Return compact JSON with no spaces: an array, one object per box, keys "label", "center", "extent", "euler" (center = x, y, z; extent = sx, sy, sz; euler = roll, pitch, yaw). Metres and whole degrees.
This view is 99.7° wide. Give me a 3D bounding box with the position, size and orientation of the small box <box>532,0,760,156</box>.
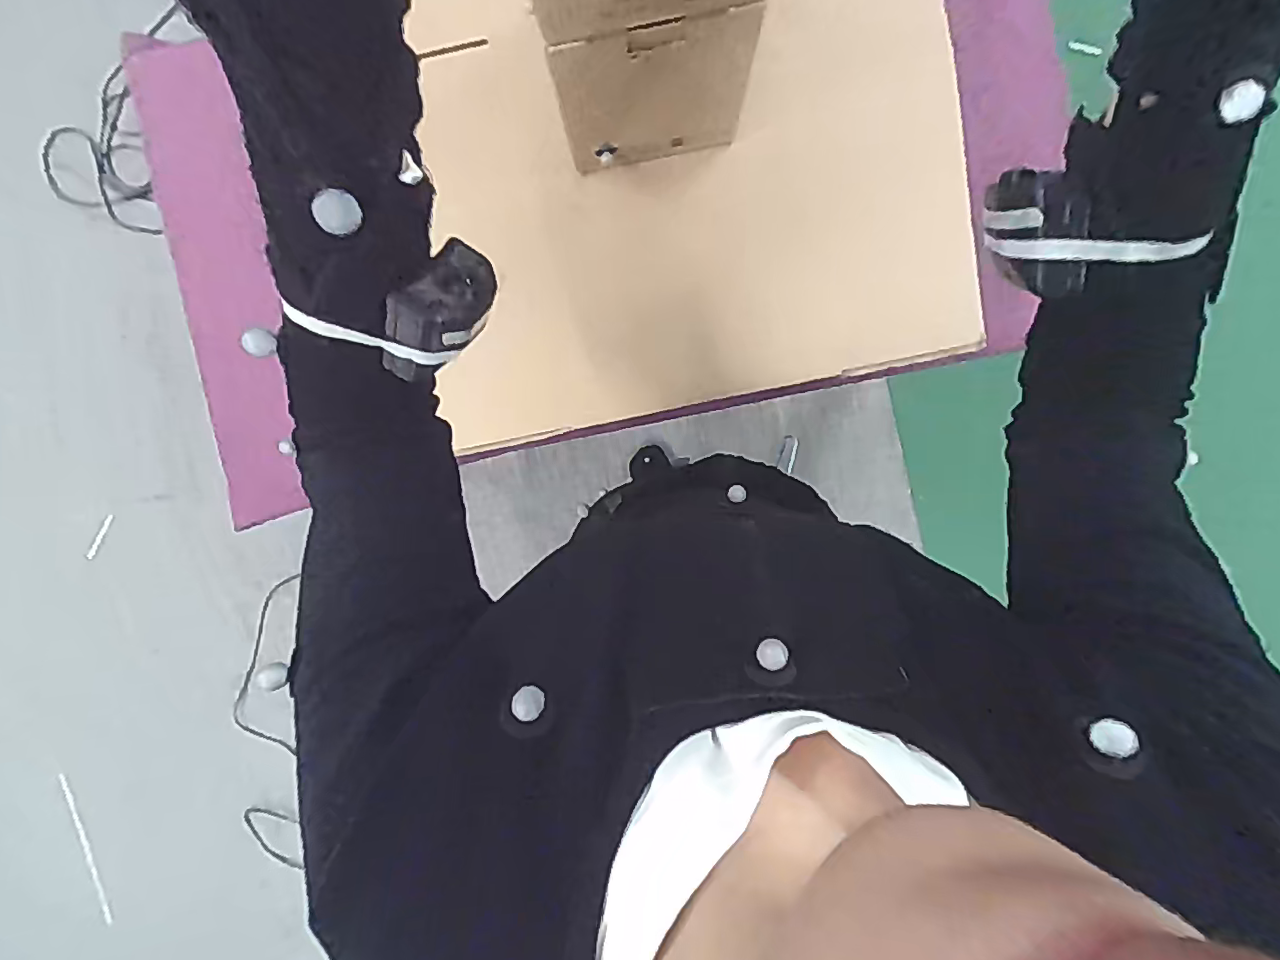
[{"label":"small box","center":[-0.003,-0.412,0.466],"extent":[0.168,0.176,0.179],"euler":[-11,91,2]}]
